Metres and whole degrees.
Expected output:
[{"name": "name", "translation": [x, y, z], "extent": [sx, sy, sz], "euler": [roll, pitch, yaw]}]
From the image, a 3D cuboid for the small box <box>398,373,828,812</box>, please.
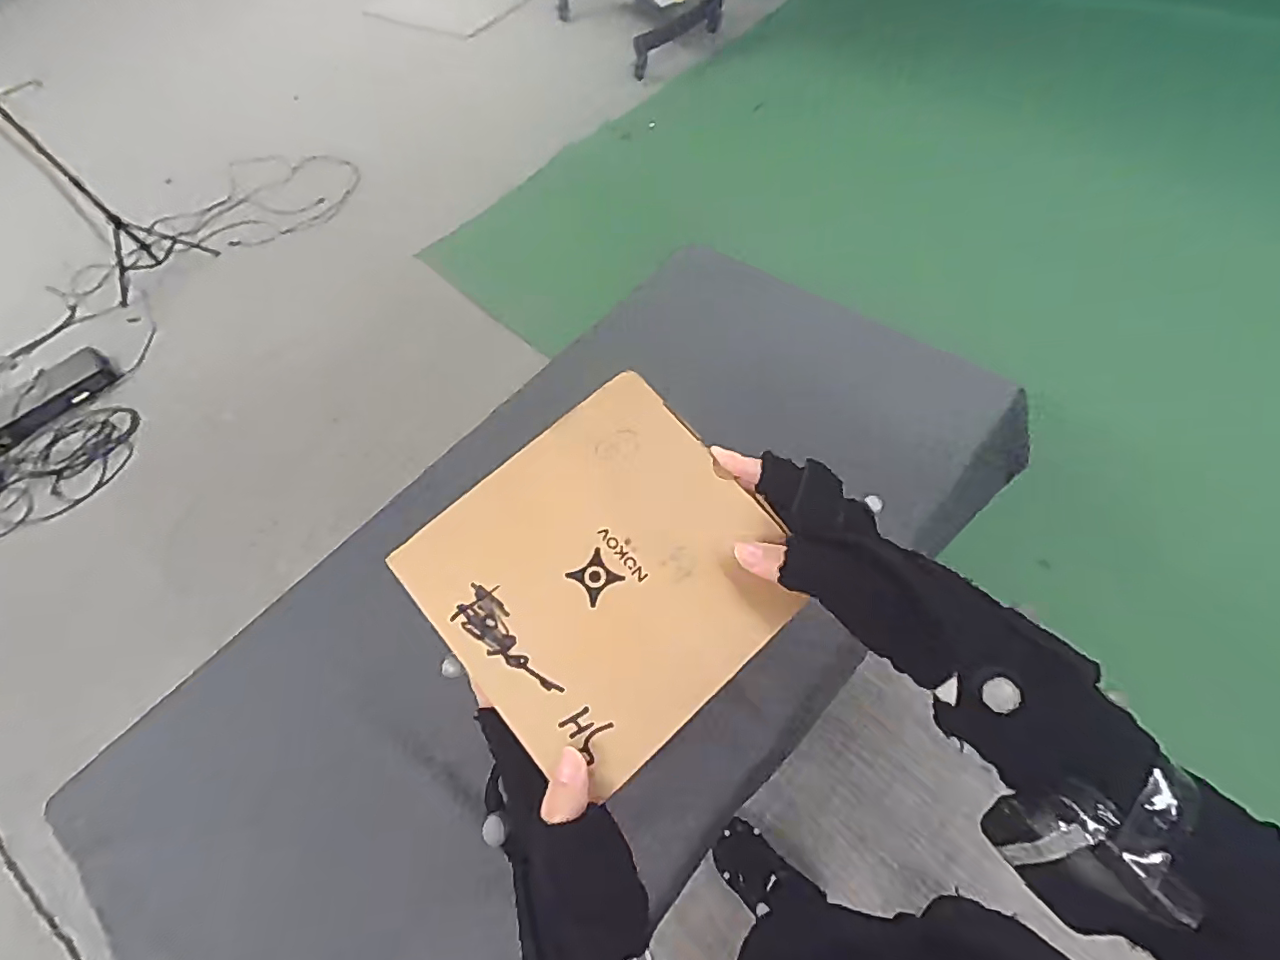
[{"name": "small box", "translation": [-0.016, 0.068, 0.366], "extent": [0.179, 0.176, 0.168], "euler": [-42, 79, -11]}]
